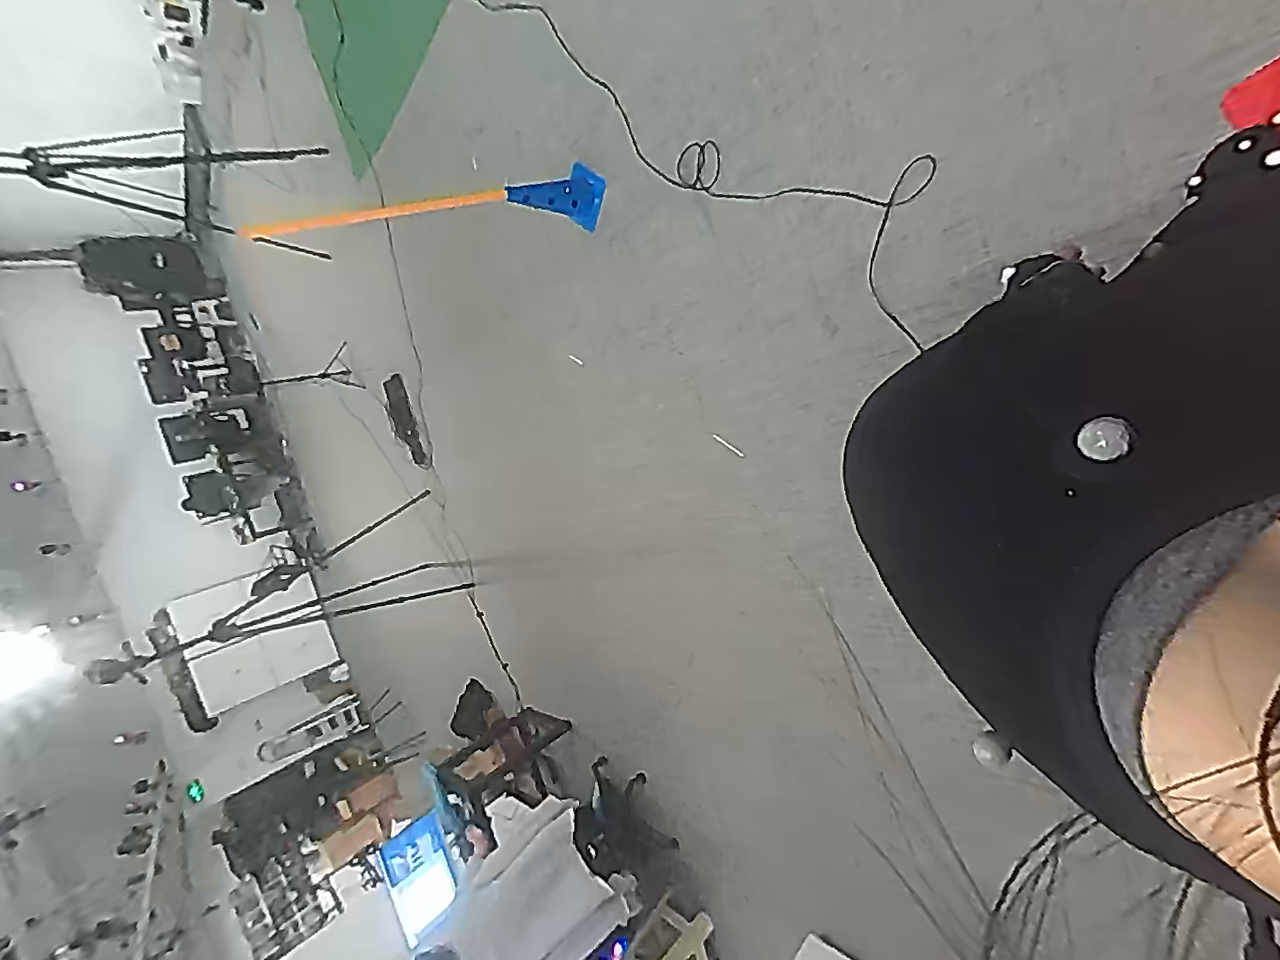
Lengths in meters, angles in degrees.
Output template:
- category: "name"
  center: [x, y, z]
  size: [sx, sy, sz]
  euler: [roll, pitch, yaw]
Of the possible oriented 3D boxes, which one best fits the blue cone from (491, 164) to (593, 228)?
- category: "blue cone"
  center: [-0.369, -1.046, 1.985]
  size: [0.192, 0.380, 0.193]
  euler: [43, 135, 25]
